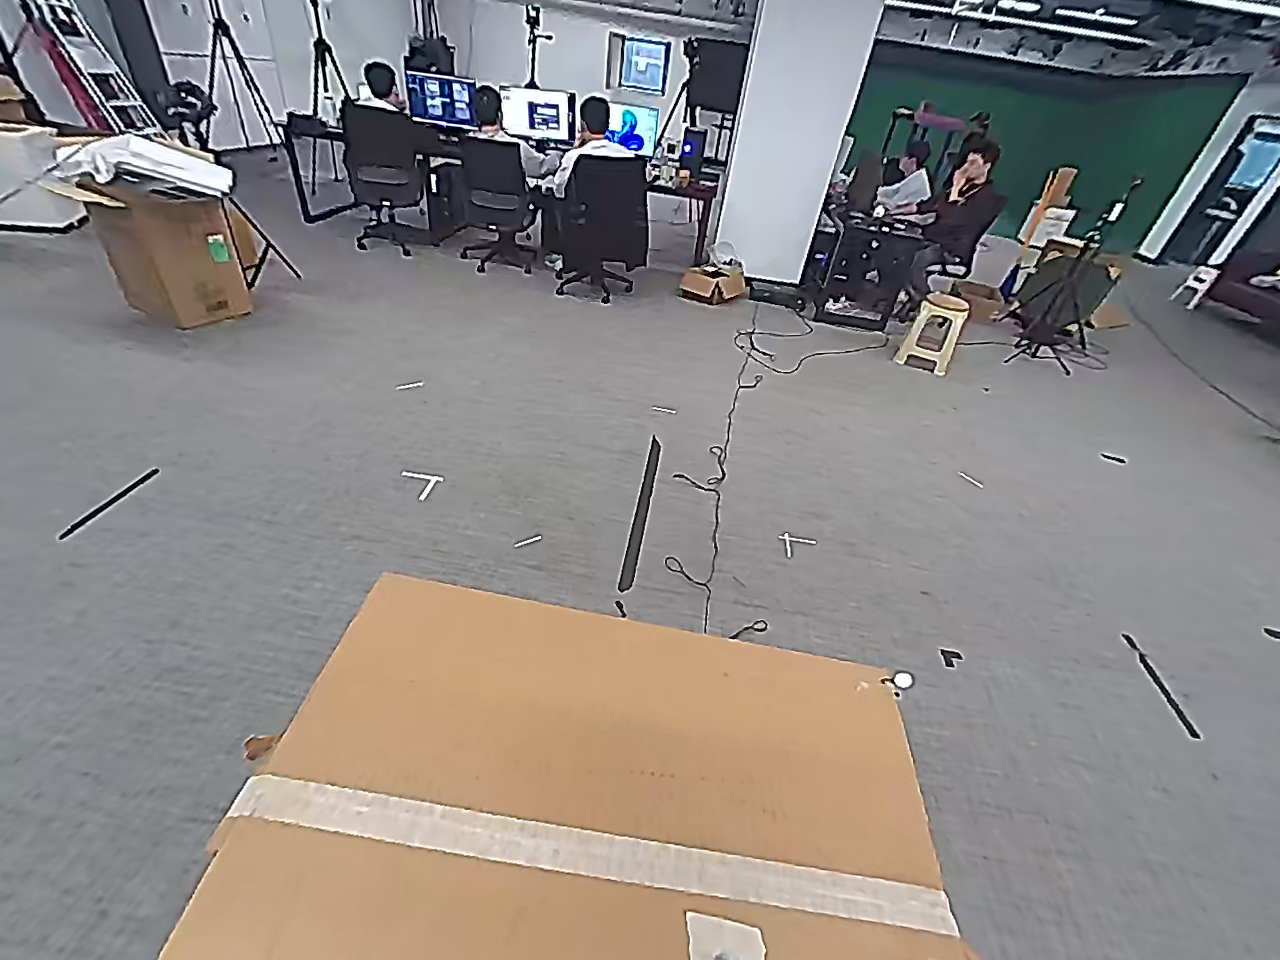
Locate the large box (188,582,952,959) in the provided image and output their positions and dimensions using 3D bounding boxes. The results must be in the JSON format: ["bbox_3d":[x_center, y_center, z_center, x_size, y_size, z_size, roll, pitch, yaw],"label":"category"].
[{"bbox_3d":[-0.042,0.324,0.418,0.408,0.320,0.320,12,43,-3],"label":"large box"}]
